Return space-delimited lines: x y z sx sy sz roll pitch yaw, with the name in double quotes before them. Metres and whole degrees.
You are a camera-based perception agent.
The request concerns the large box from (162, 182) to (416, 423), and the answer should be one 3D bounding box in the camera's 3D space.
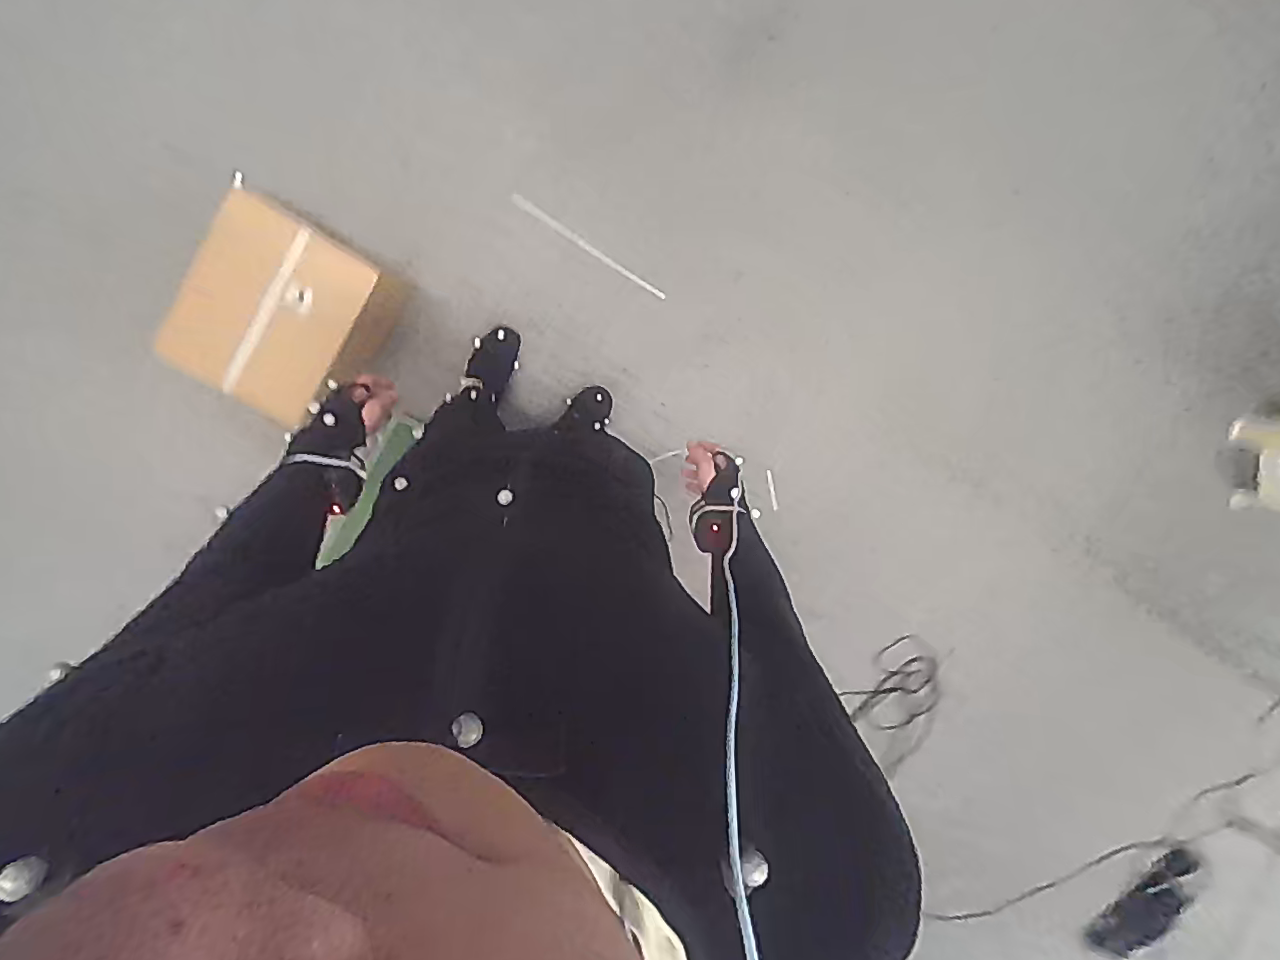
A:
"large box" -0.809 -0.402 1.299 0.320 0.320 0.408 32 99 -16
